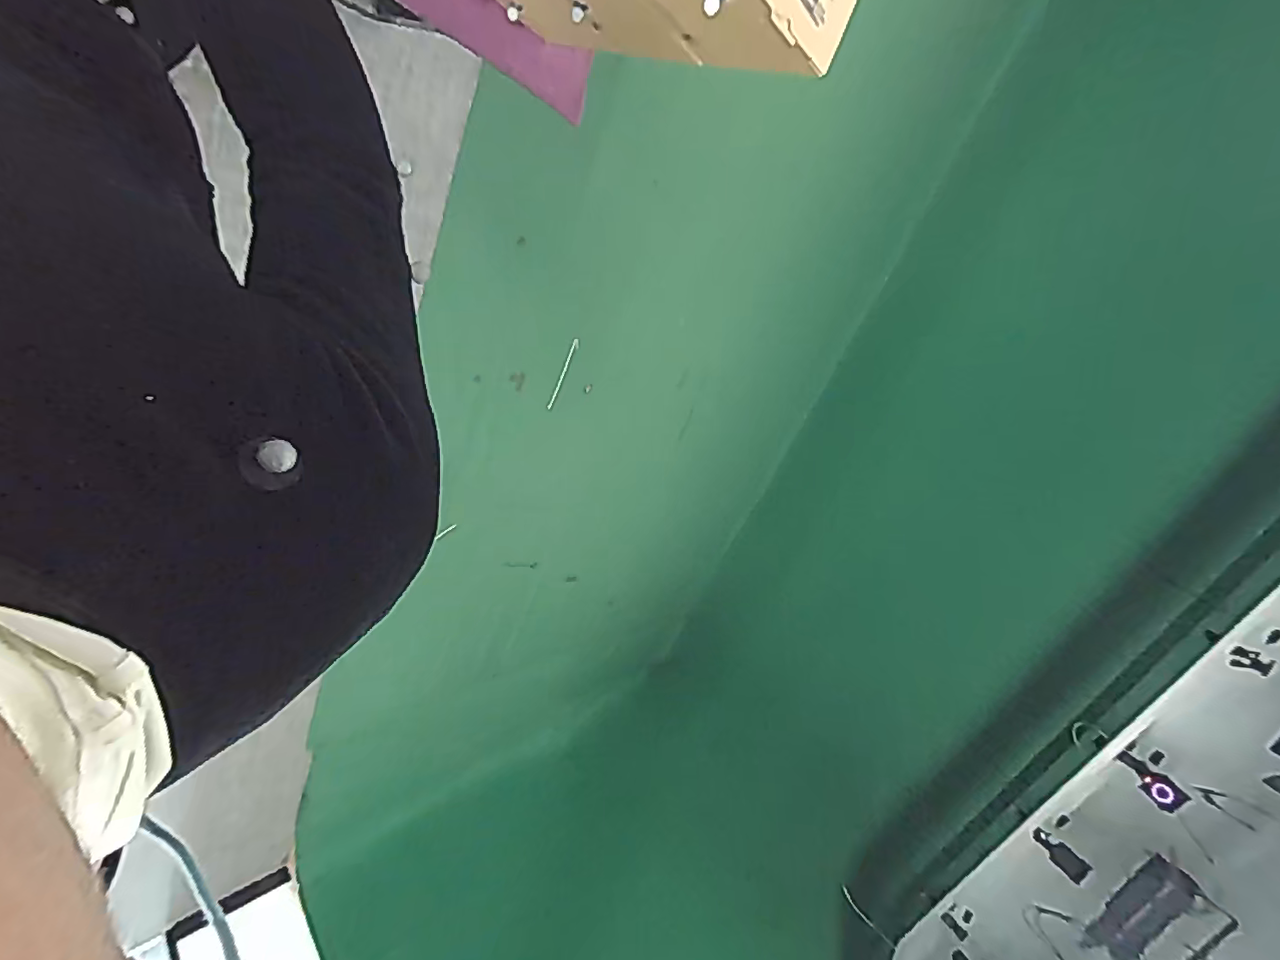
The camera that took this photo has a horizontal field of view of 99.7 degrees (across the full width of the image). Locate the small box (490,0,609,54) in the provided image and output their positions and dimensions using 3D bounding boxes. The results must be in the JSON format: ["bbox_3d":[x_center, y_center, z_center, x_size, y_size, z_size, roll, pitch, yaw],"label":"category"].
[{"bbox_3d":[-0.115,-0.691,0.686,0.179,0.176,0.168,2,120,-51],"label":"small box"}]

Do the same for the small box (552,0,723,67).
[{"bbox_3d":[-0.003,-0.609,0.598,0.168,0.176,0.179,3,120,-51],"label":"small box"}]
